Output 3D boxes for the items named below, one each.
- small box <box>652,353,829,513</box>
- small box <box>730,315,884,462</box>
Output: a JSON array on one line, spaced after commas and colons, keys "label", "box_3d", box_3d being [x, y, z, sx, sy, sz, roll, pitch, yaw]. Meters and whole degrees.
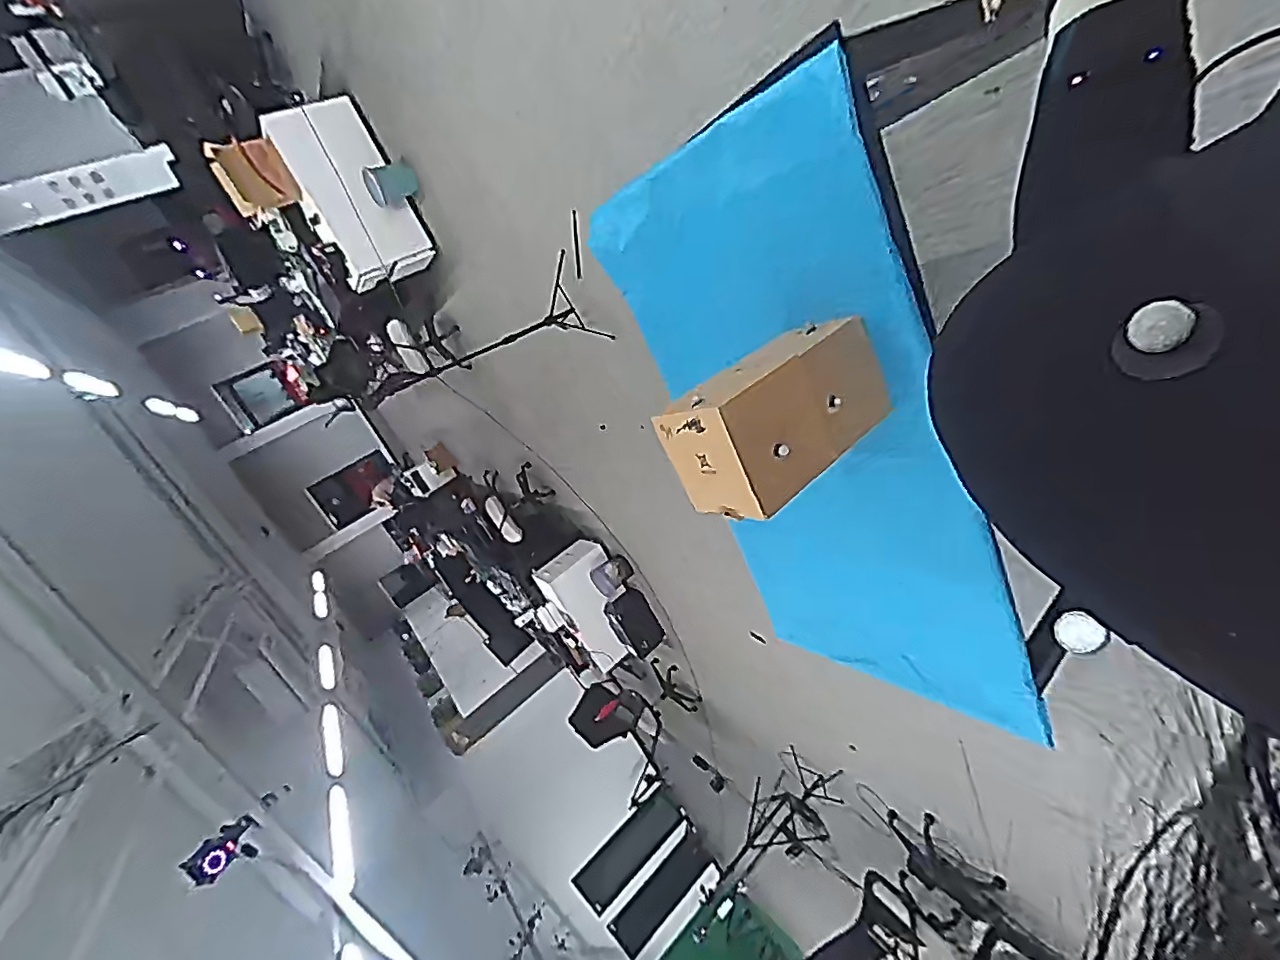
[{"label": "small box", "box_3d": [0.156, -0.069, 0.828, 0.168, 0.176, 0.179, -1, 120, 61]}, {"label": "small box", "box_3d": [0.276, -0.149, 0.904, 0.168, 0.176, 0.179, 5, 126, 58]}]
